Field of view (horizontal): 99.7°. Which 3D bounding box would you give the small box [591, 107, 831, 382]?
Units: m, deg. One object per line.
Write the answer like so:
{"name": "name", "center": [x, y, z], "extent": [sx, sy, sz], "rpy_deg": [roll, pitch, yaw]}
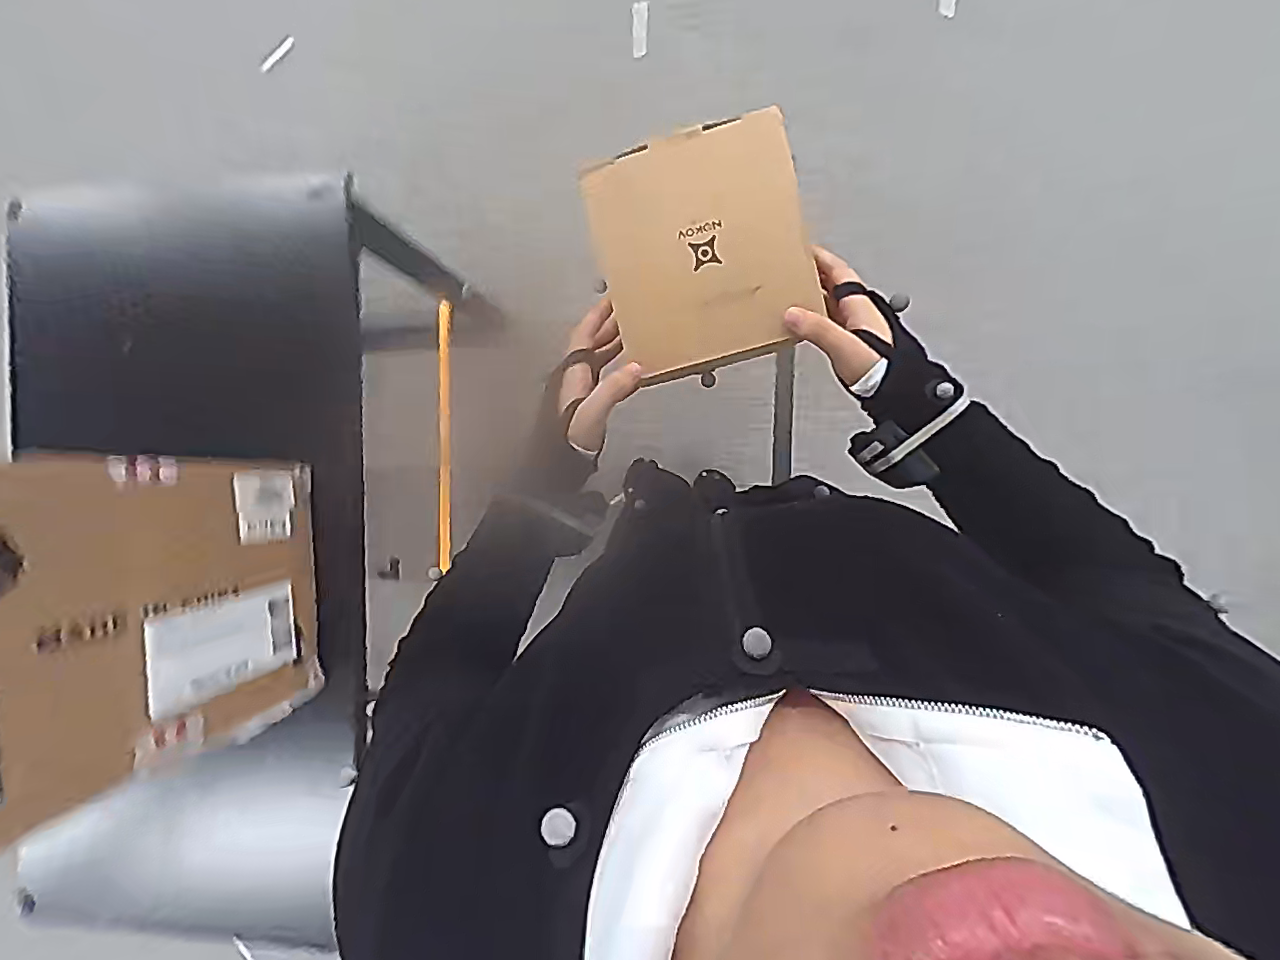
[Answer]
{"name": "small box", "center": [0.060, -0.197, 0.509], "extent": [0.168, 0.176, 0.179], "rpy_deg": [-13, 97, 5]}
